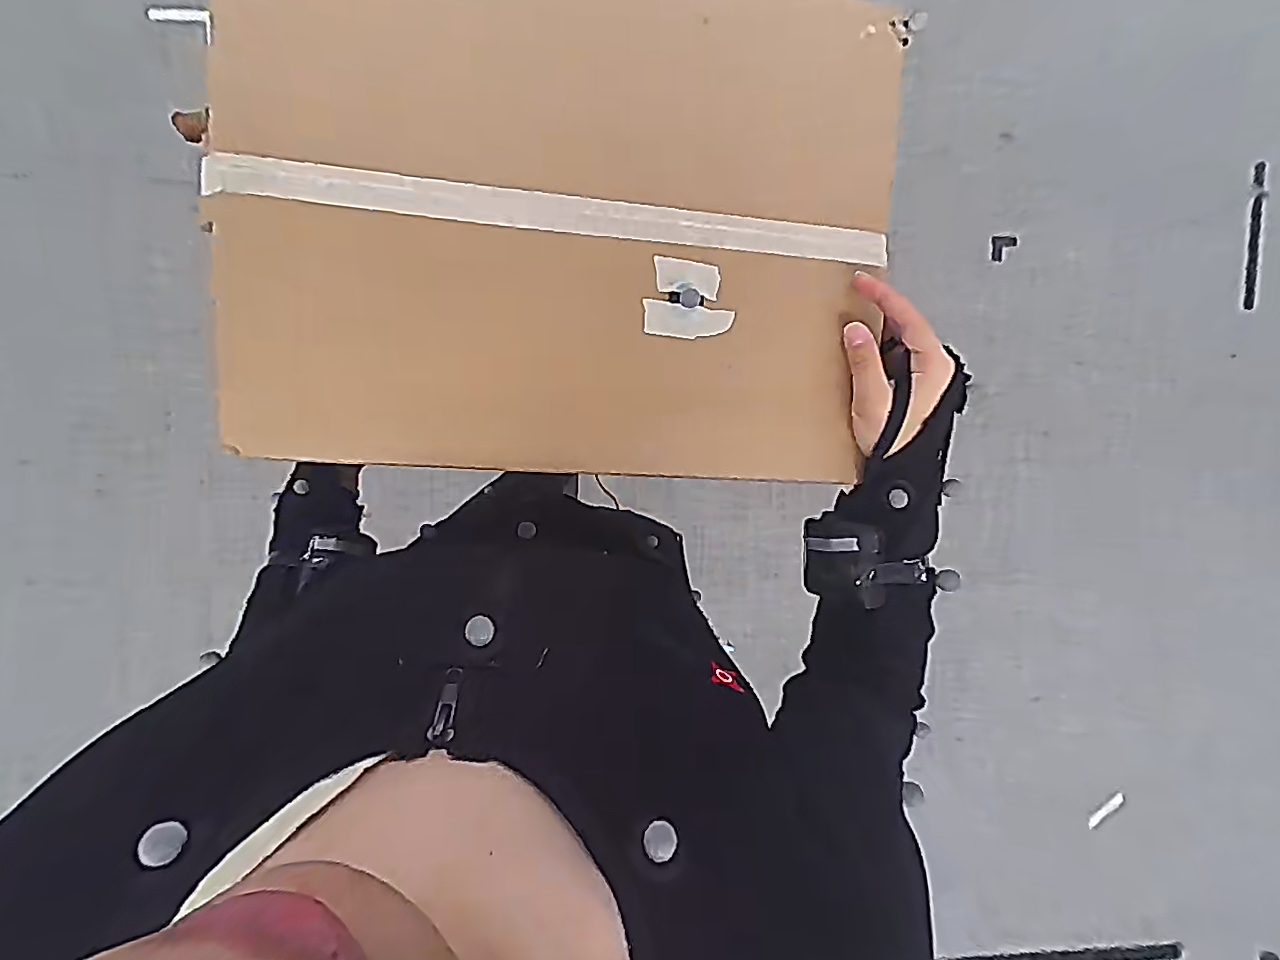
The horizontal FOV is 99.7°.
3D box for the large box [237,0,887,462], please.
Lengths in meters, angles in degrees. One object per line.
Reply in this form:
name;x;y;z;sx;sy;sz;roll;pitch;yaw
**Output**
large box;-0.060;-0.183;0.488;0.408;0.320;0.320;2;96;-10
